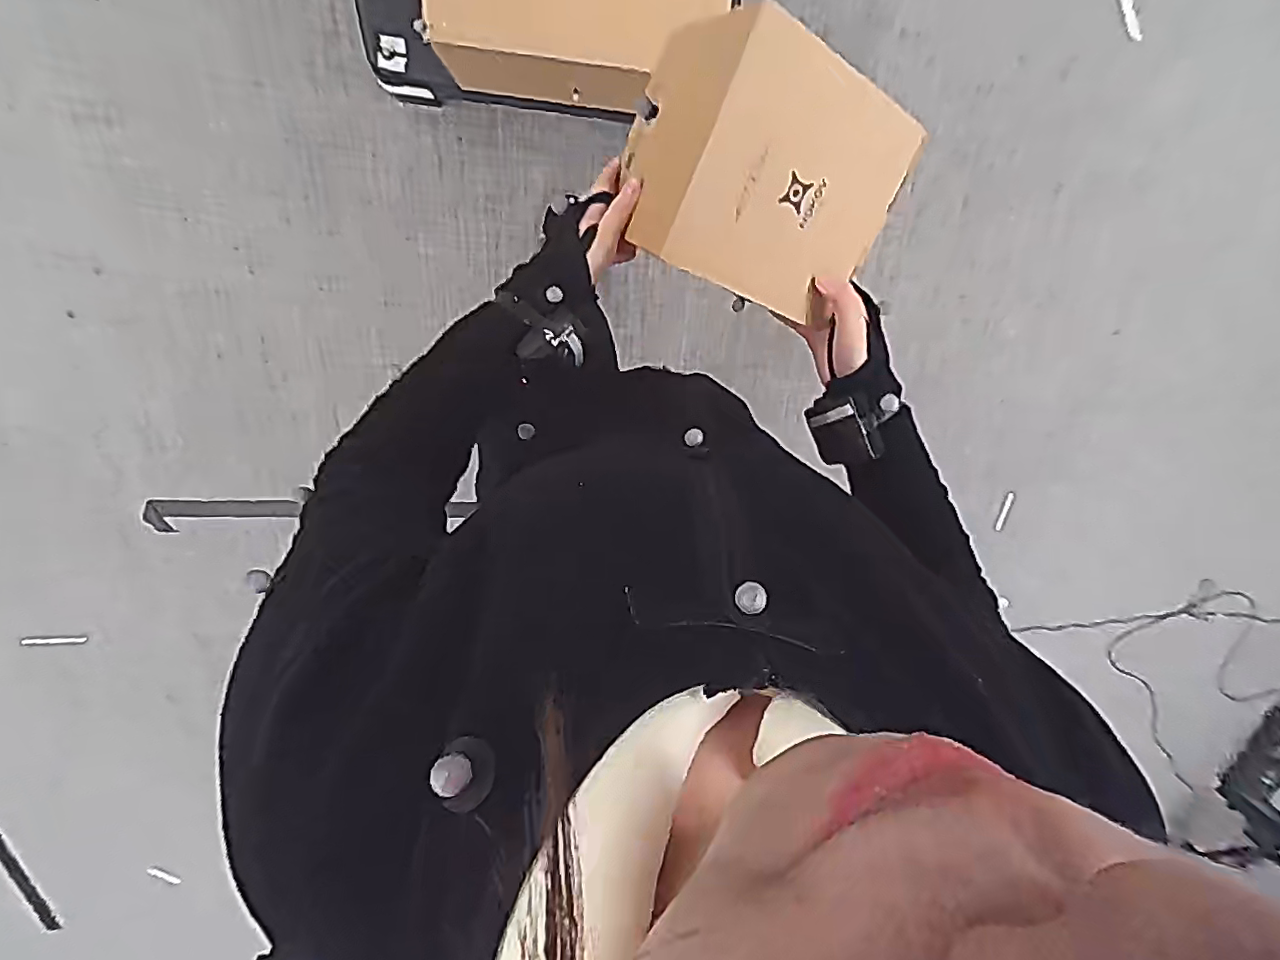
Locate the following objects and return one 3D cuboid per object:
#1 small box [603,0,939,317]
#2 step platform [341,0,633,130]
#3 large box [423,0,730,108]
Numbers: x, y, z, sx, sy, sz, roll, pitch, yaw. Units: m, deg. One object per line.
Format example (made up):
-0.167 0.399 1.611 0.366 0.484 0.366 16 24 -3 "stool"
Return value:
0.093 -0.264 0.455 0.179 0.176 0.168 12 115 -30 "small box"
-0.178 -0.851 1.009 0.684 0.204 0.286 6 114 -11 "step platform"
-0.089 -0.765 0.798 0.408 0.320 0.320 1 115 -9 "large box"
